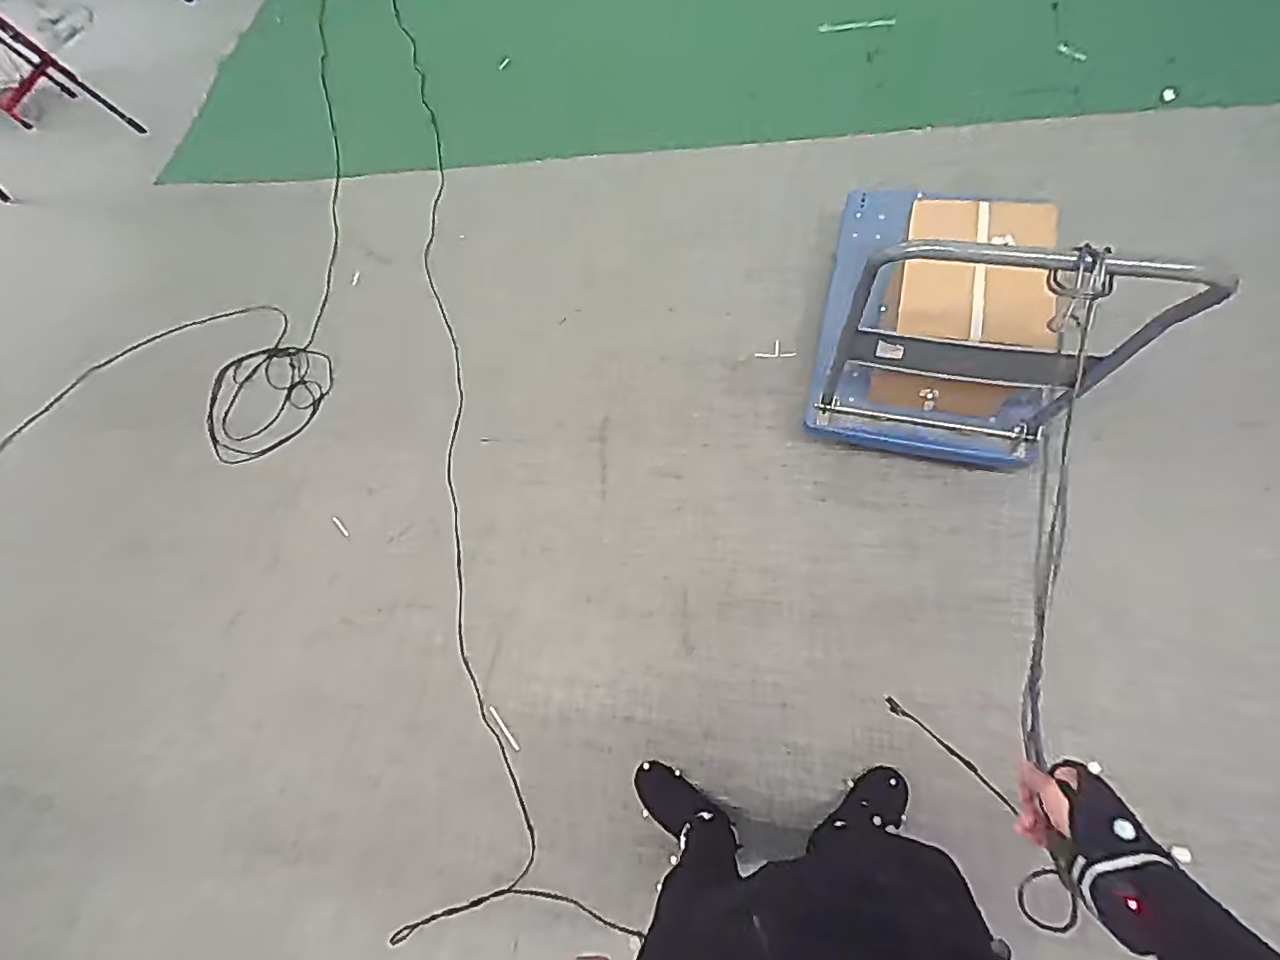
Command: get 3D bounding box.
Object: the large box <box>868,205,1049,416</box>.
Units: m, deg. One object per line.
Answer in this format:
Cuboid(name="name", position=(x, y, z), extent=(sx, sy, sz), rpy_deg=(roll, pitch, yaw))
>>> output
Cuboid(name="large box", position=(0.784, -0.419, 1.370), extent=(0.320, 0.320, 0.408), rpy_deg=(10, 70, 14))
